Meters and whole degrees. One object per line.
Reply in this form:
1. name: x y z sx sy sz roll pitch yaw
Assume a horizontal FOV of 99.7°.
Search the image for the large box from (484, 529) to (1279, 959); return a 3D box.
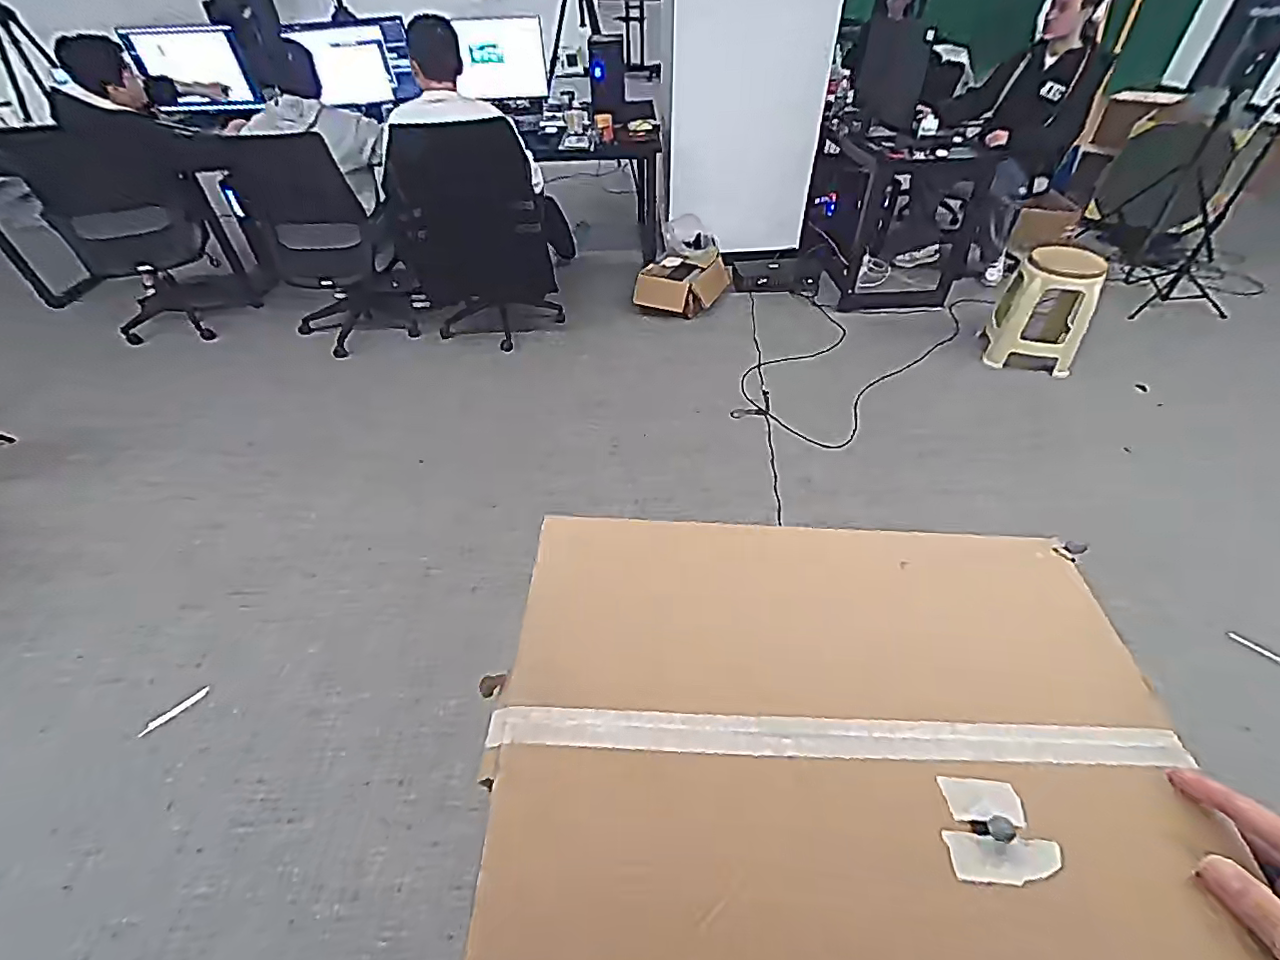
1. large box: 0.115 0.258 0.443 0.408 0.320 0.320 3 49 -1
